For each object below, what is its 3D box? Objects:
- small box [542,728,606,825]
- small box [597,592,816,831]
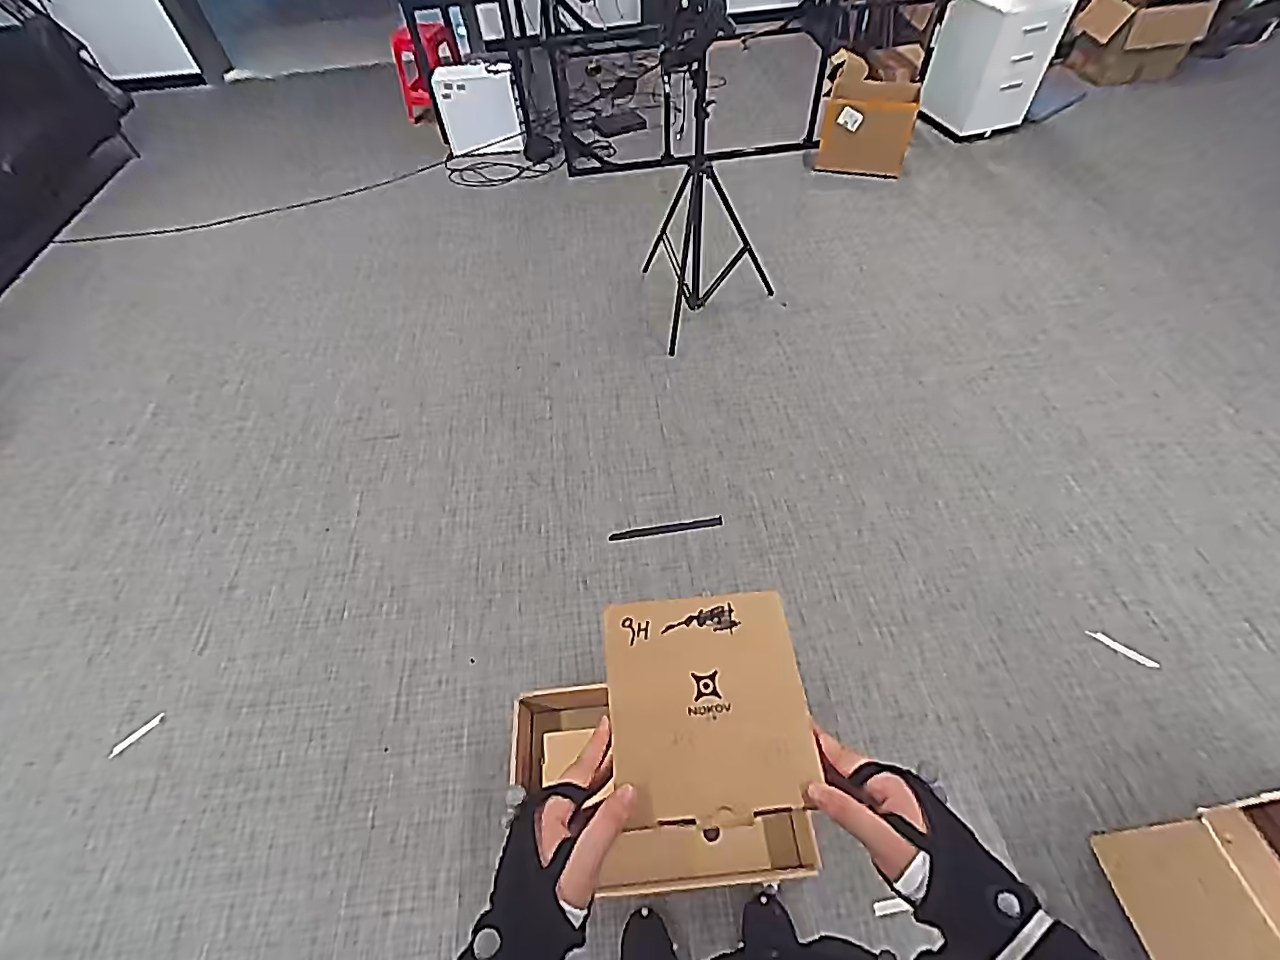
[{"bbox_3d":[-0.116,0.659,1.200,0.179,0.176,0.168,-5,56,-2],"label":"small box"},{"bbox_3d":[0.048,0.223,0.521,0.168,0.176,0.179,-4,59,-4],"label":"small box"}]
